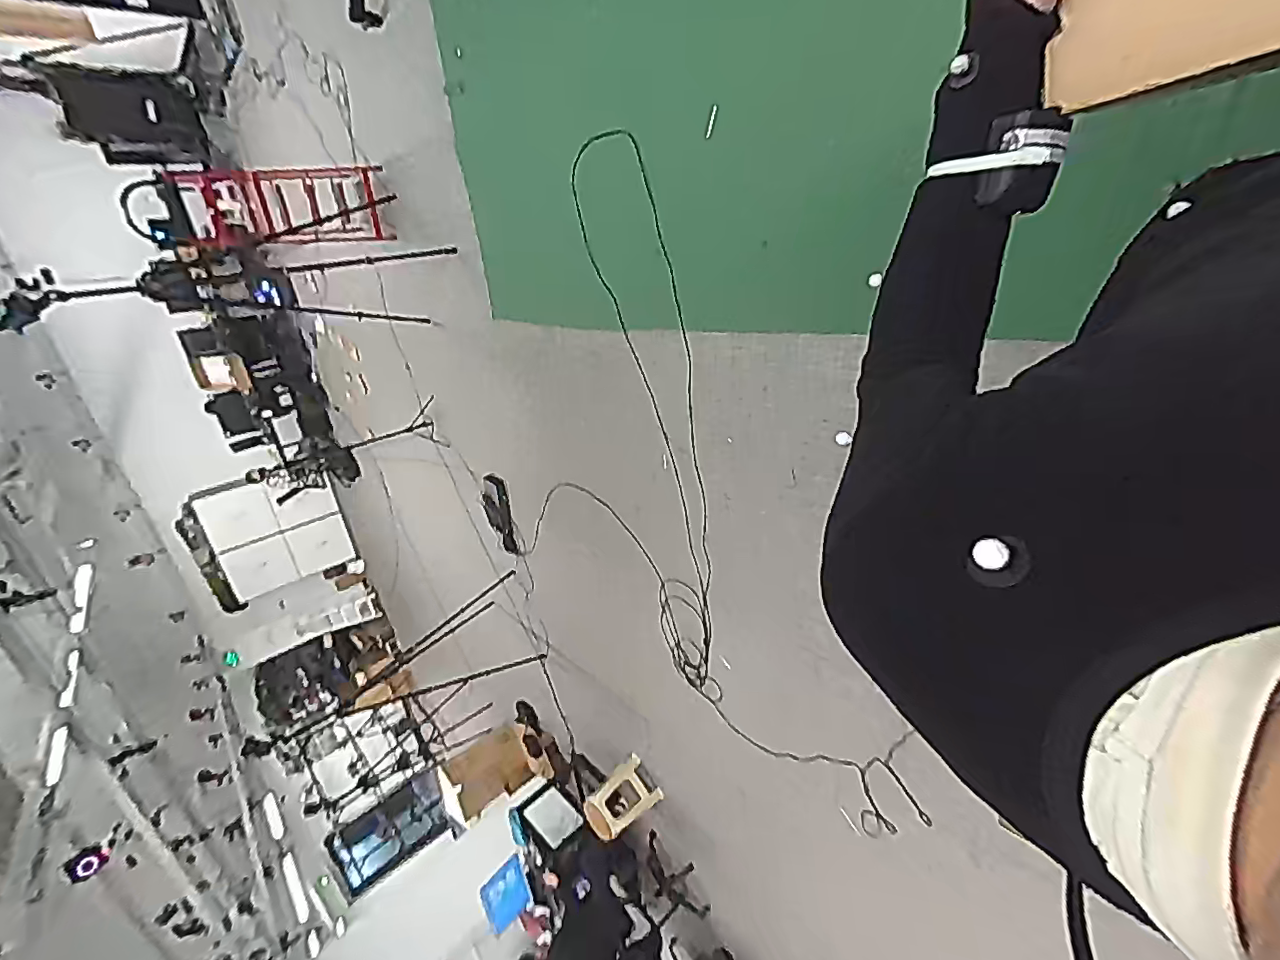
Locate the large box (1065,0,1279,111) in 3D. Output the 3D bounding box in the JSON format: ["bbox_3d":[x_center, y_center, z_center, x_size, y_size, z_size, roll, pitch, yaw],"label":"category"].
[{"bbox_3d":[0.520,-0.457,0.301,0.408,0.320,0.320,9,121,47],"label":"large box"}]
